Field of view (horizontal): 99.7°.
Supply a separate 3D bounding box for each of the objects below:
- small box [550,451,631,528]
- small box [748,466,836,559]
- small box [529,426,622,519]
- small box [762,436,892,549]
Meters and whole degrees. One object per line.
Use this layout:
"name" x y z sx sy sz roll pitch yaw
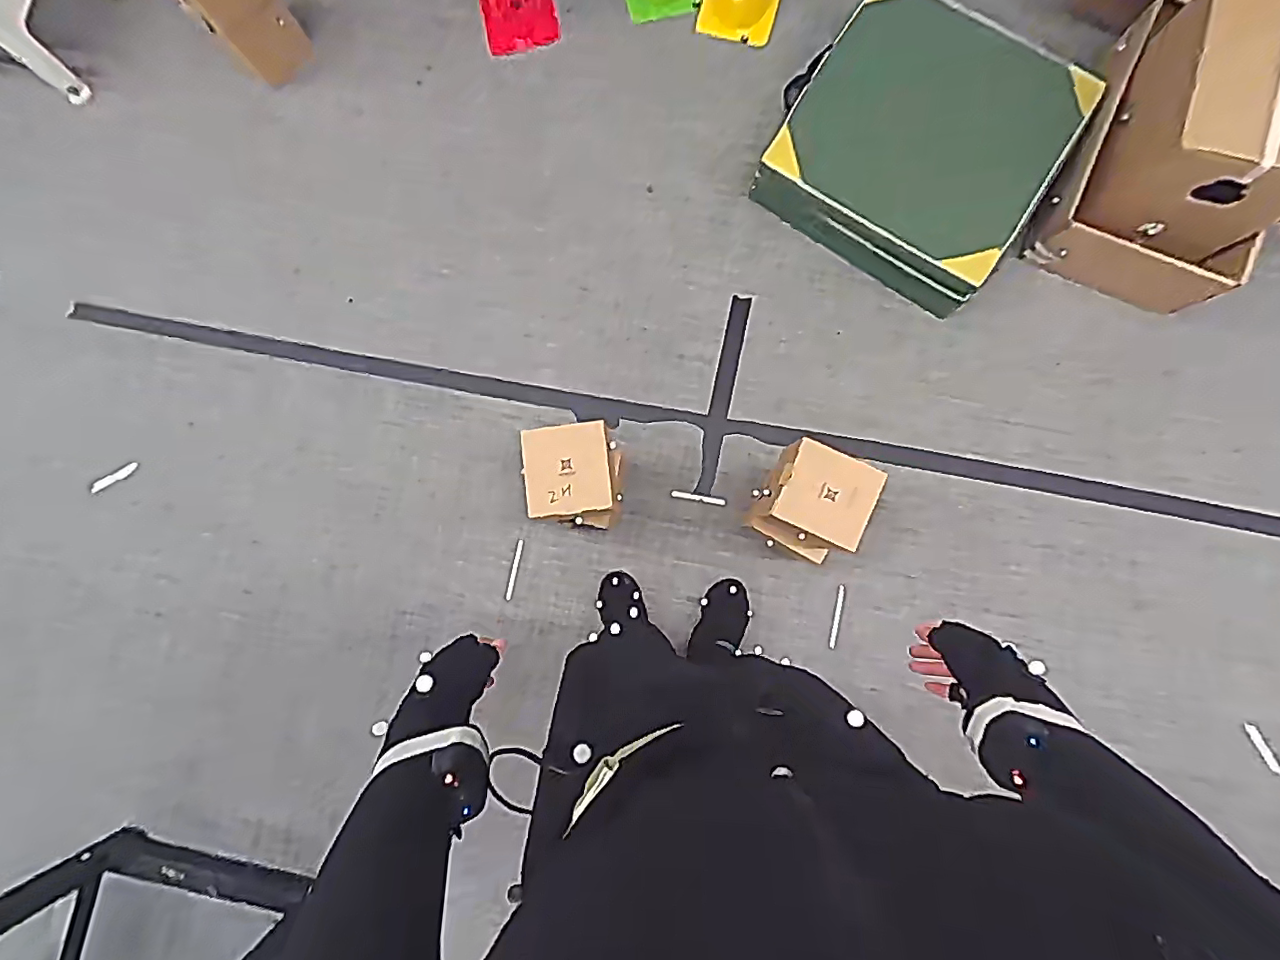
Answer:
"small box" -0.118 0.018 1.287 0.168 0.176 0.179 9 84 4
"small box" 0.372 0.073 1.262 0.179 0.176 0.168 27 86 3
"small box" -0.128 -0.010 1.125 0.168 0.176 0.179 -4 87 4
"small box" 0.368 0.031 1.100 0.179 0.176 0.168 25 87 3
